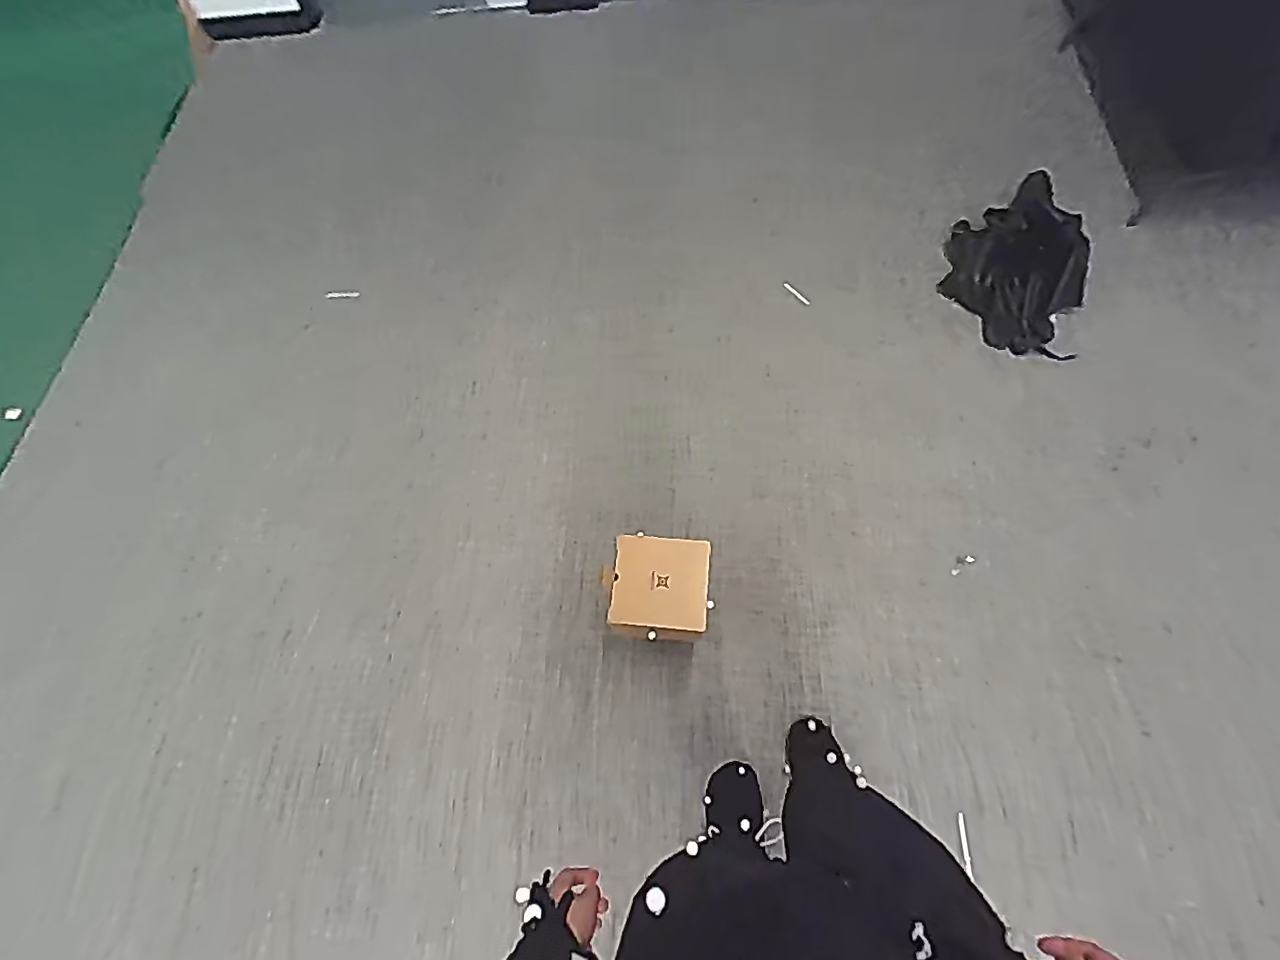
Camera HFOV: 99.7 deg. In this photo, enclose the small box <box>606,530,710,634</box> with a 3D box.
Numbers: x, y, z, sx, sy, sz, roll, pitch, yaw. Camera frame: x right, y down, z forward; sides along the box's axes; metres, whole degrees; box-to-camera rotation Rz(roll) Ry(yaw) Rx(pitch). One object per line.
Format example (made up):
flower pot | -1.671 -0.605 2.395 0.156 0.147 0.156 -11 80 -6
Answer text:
small box | 0.040 0.203 1.050 0.179 0.176 0.168 4 69 6
